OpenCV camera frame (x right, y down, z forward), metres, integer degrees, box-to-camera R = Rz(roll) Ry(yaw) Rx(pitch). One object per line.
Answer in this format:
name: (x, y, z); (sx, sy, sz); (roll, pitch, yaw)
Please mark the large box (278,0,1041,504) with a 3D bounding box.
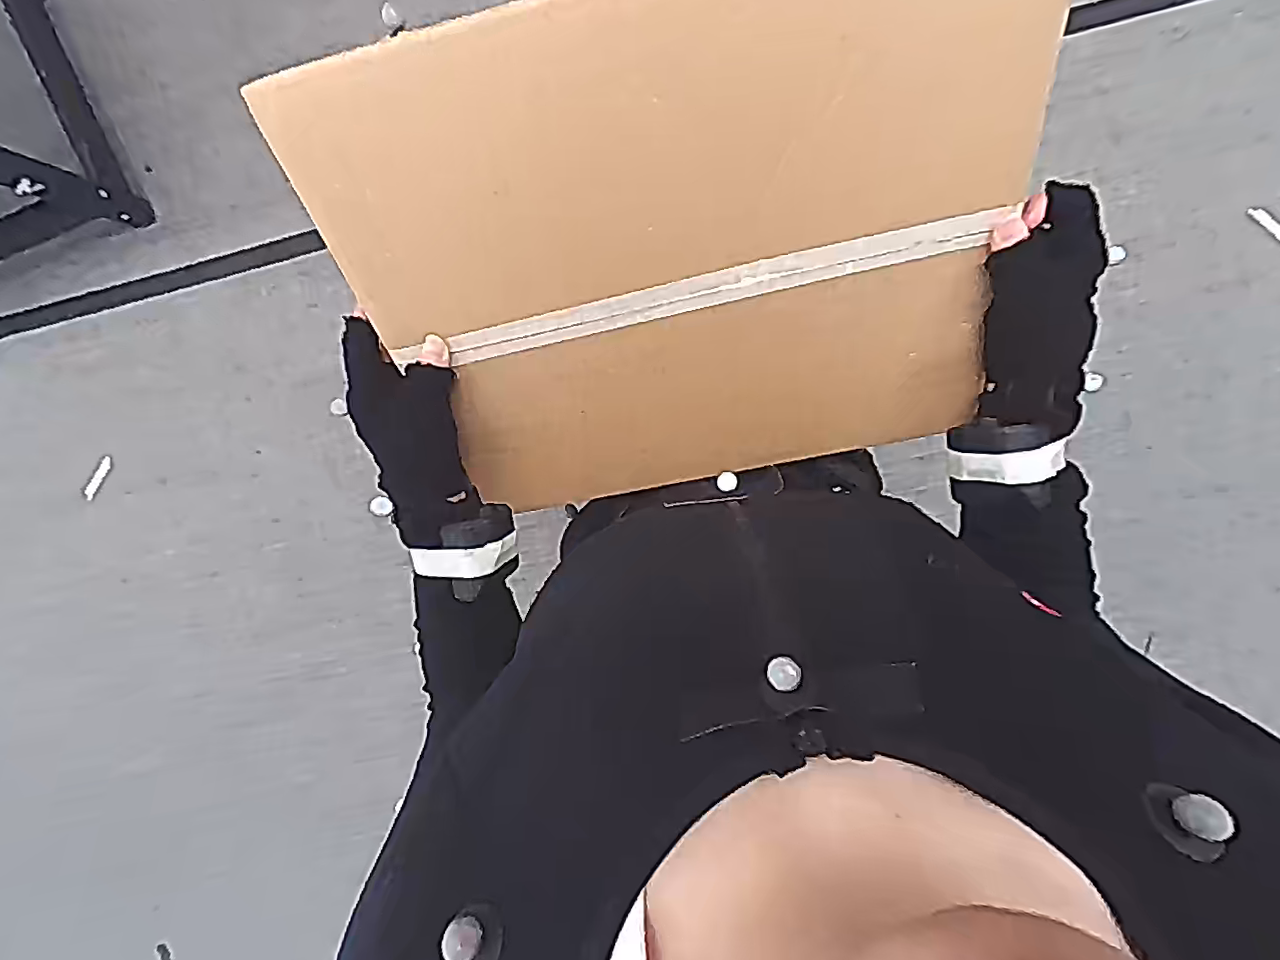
large box: (0.022, -0.223, 0.471); (0.408, 0.320, 0.320); (-11, 131, 6)
